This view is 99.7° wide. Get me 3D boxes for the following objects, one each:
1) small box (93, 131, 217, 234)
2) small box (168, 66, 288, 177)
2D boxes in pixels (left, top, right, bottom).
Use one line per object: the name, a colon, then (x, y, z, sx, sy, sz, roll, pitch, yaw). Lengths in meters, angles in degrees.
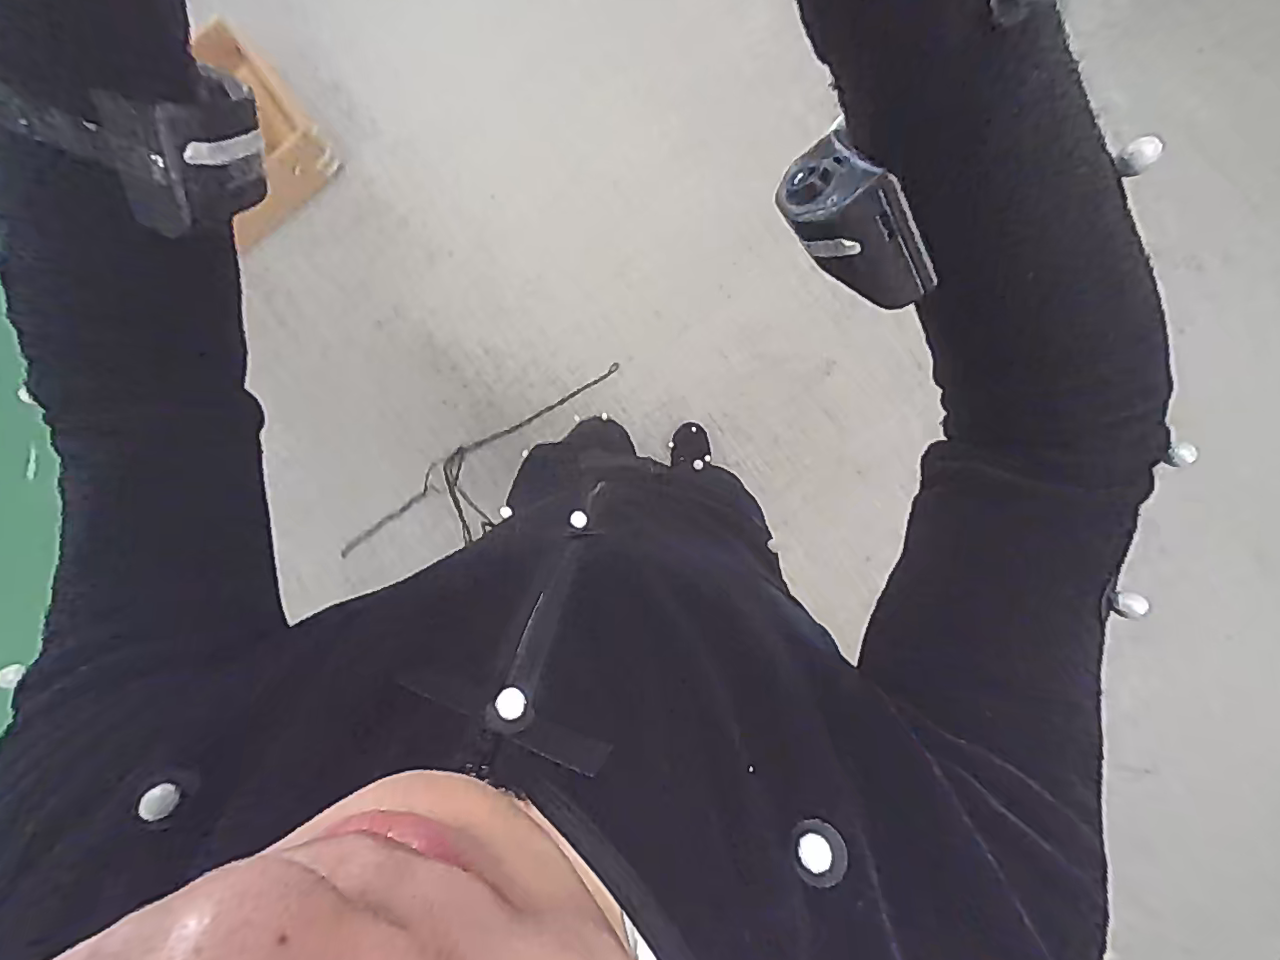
small box: (-1.382, -0.839, 1.554, 0.168, 0.176, 0.179, -33, 90, 6)
small box: (-1.147, -0.992, 1.522, 0.168, 0.176, 0.179, -31, 91, 7)
